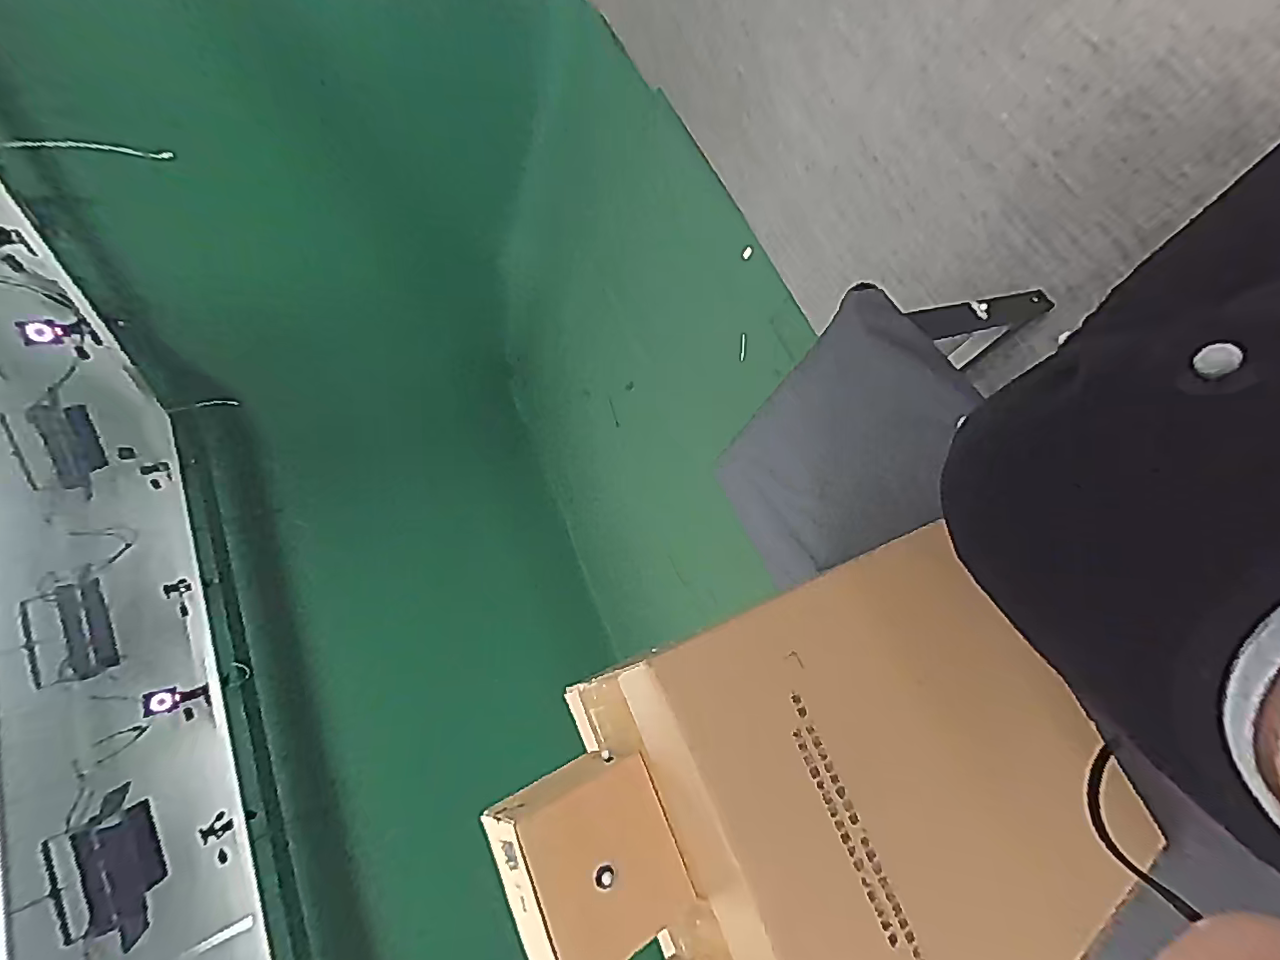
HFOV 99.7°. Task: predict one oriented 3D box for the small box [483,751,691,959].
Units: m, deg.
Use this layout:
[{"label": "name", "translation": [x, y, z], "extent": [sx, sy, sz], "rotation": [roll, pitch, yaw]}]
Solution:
[{"label": "small box", "translation": [-0.069, 0.453, 0.664], "extent": [0.168, 0.176, 0.179], "rotation": [-44, 66, 53]}]
